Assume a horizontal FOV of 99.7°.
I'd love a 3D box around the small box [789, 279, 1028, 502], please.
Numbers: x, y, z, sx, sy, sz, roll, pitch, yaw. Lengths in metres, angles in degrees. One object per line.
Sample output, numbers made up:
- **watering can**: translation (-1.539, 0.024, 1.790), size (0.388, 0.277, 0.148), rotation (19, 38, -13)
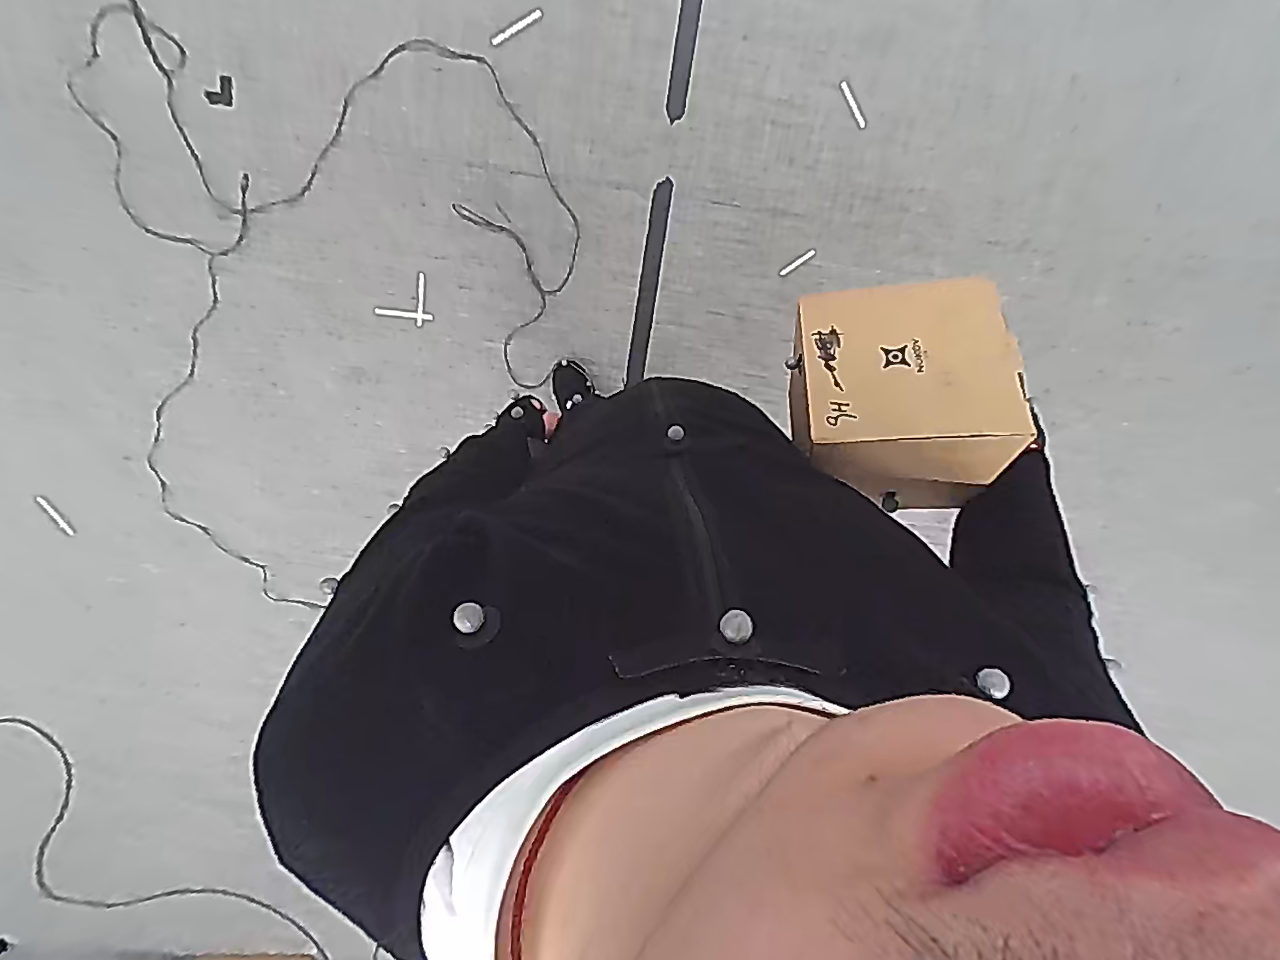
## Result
- **small box**: translation (0.256, -0.082, 0.566), size (0.179, 0.176, 0.168), rotation (-1, 66, 11)
